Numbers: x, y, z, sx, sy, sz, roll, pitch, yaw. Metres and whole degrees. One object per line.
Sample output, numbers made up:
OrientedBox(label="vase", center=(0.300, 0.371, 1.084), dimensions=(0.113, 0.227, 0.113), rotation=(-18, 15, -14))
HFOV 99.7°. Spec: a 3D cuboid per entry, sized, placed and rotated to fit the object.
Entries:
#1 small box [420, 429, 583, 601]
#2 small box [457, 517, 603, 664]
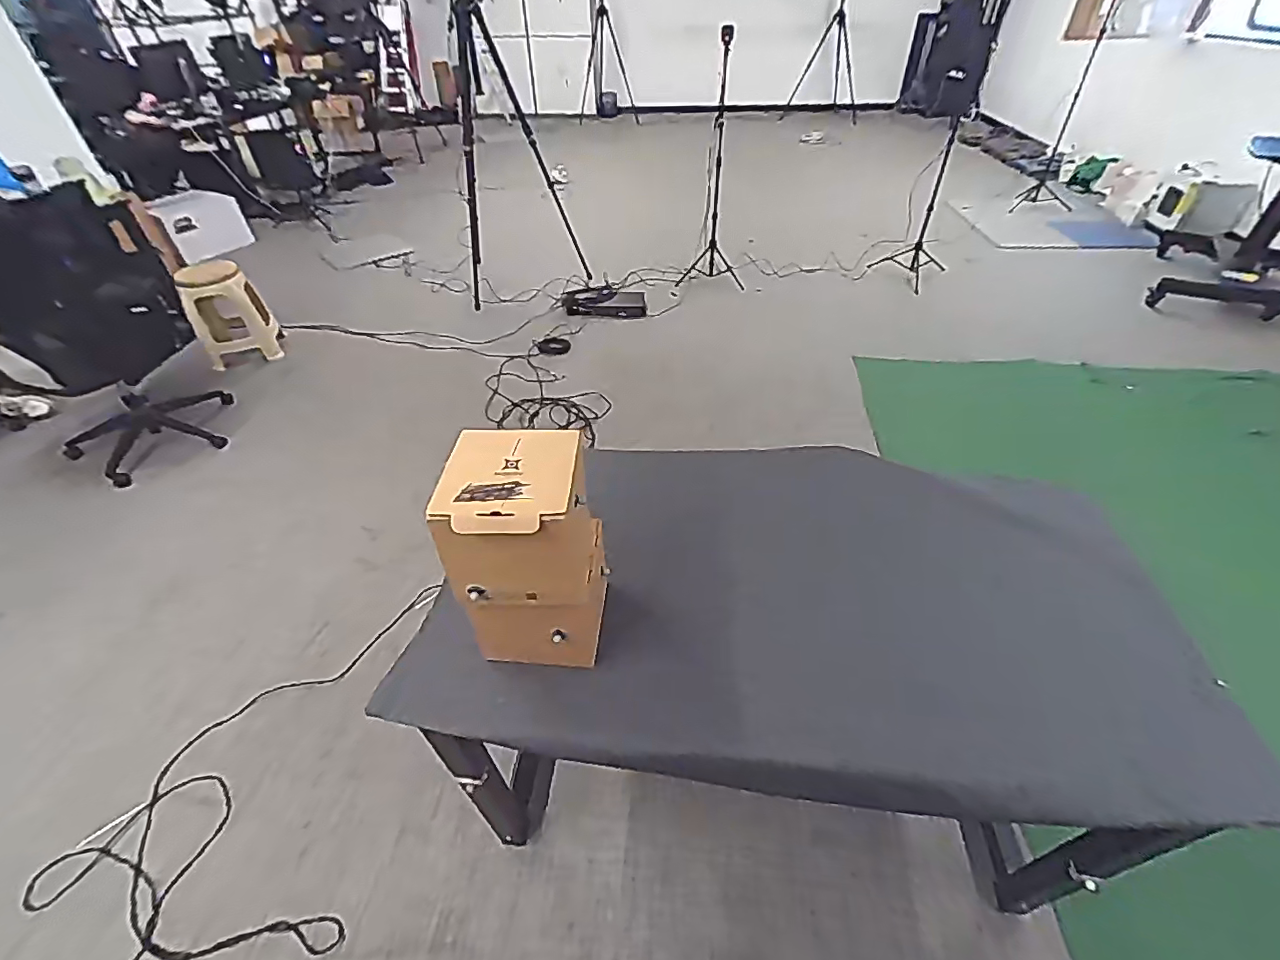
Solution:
OrientedBox(label="small box", center=(-0.170, 0.049, 0.734), dimensions=(0.168, 0.176, 0.179), rotation=(0, 40, 1))
OrientedBox(label="small box", center=(-0.156, 0.171, 0.844), dimensions=(0.179, 0.176, 0.168), rotation=(1, 41, 5))
